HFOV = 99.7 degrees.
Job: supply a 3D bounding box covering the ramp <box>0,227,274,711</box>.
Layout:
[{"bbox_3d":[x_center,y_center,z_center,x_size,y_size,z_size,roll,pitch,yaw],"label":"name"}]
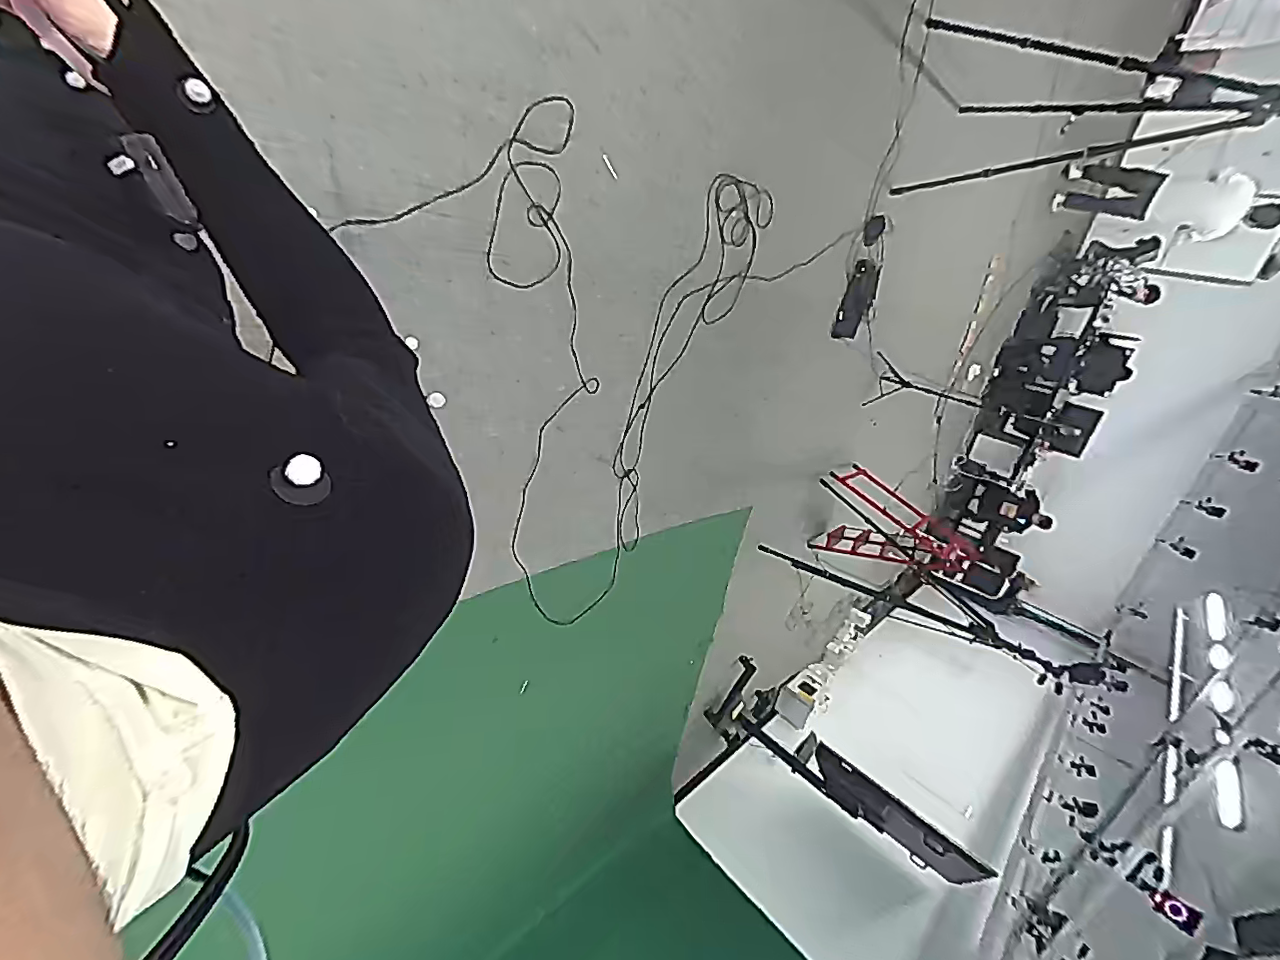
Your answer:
[{"bbox_3d":[-1.181,-0.012,1.200,0.509,0.206,0.991,-15,124,-41],"label":"ramp"}]
